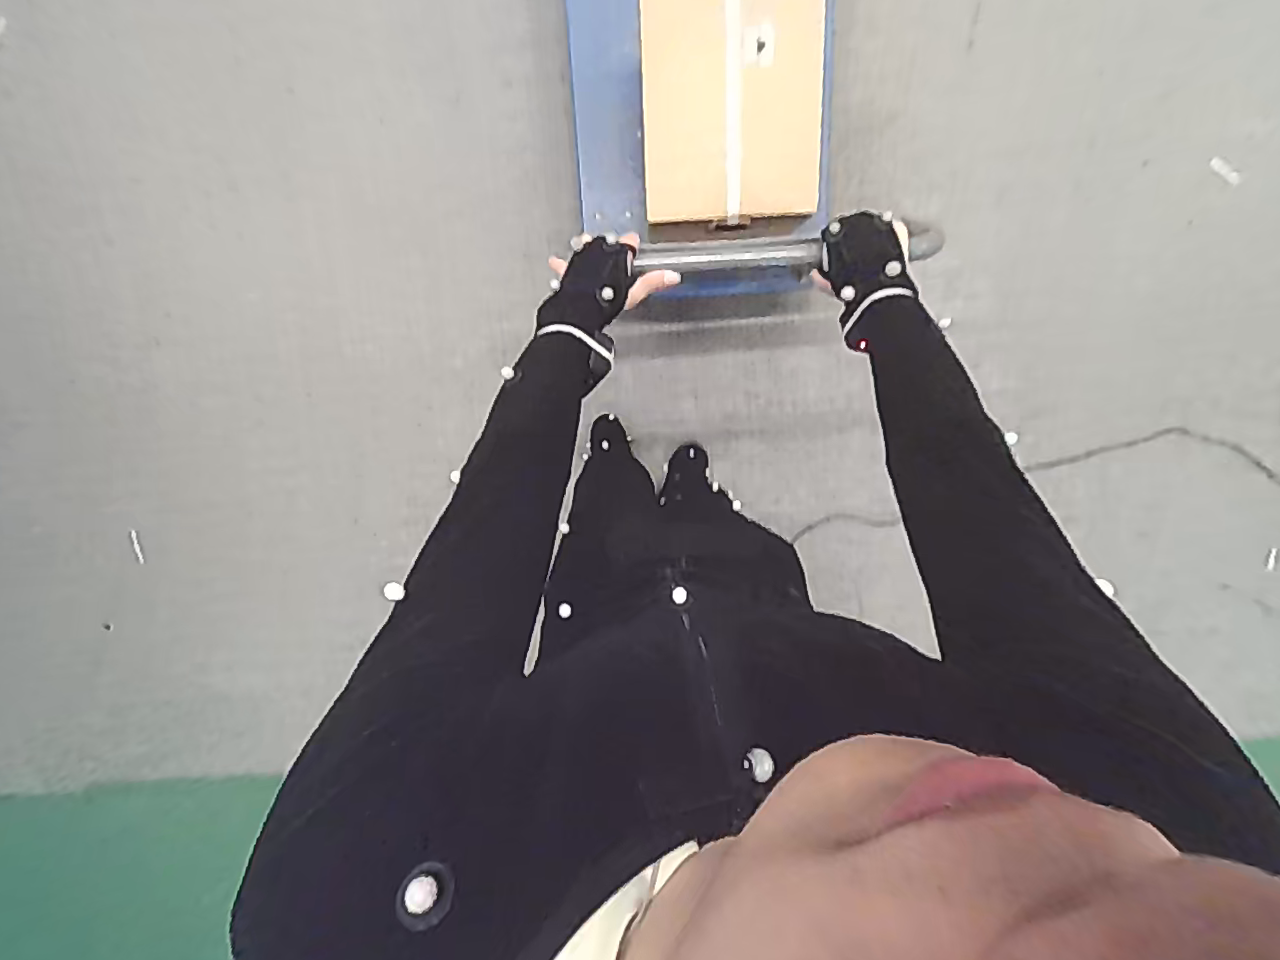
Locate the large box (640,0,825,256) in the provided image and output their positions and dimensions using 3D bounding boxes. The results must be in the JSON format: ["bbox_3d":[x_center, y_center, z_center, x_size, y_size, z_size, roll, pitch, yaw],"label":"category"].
[{"bbox_3d":[0.170,-0.698,1.083,0.320,0.320,0.408,-2,102,2],"label":"large box"}]
